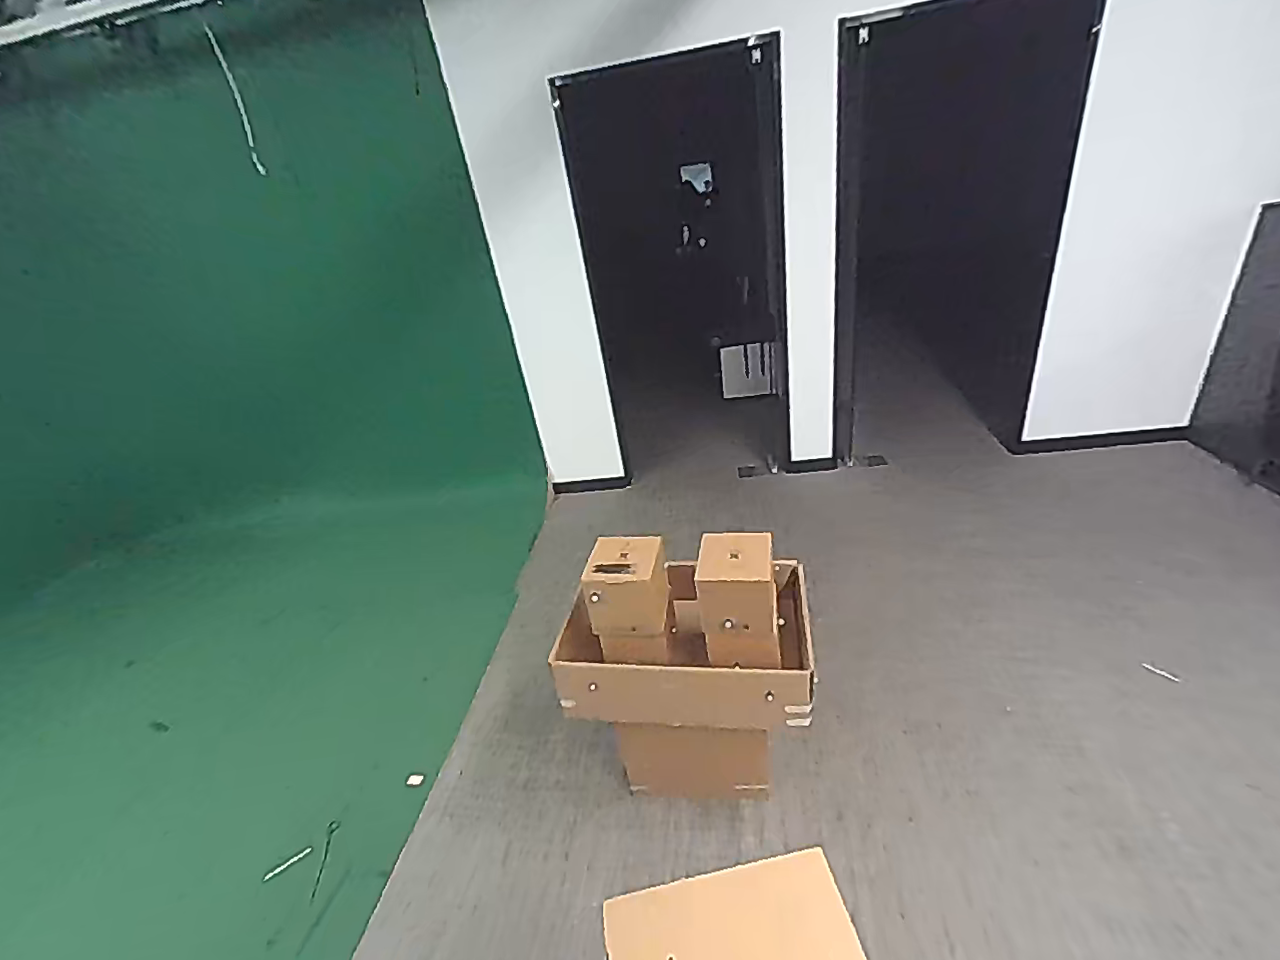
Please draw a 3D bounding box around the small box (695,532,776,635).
[{"bbox_3d":[0.231,0.240,1.277,0.168,0.176,0.179,-3,30,16],"label":"small box"}]
